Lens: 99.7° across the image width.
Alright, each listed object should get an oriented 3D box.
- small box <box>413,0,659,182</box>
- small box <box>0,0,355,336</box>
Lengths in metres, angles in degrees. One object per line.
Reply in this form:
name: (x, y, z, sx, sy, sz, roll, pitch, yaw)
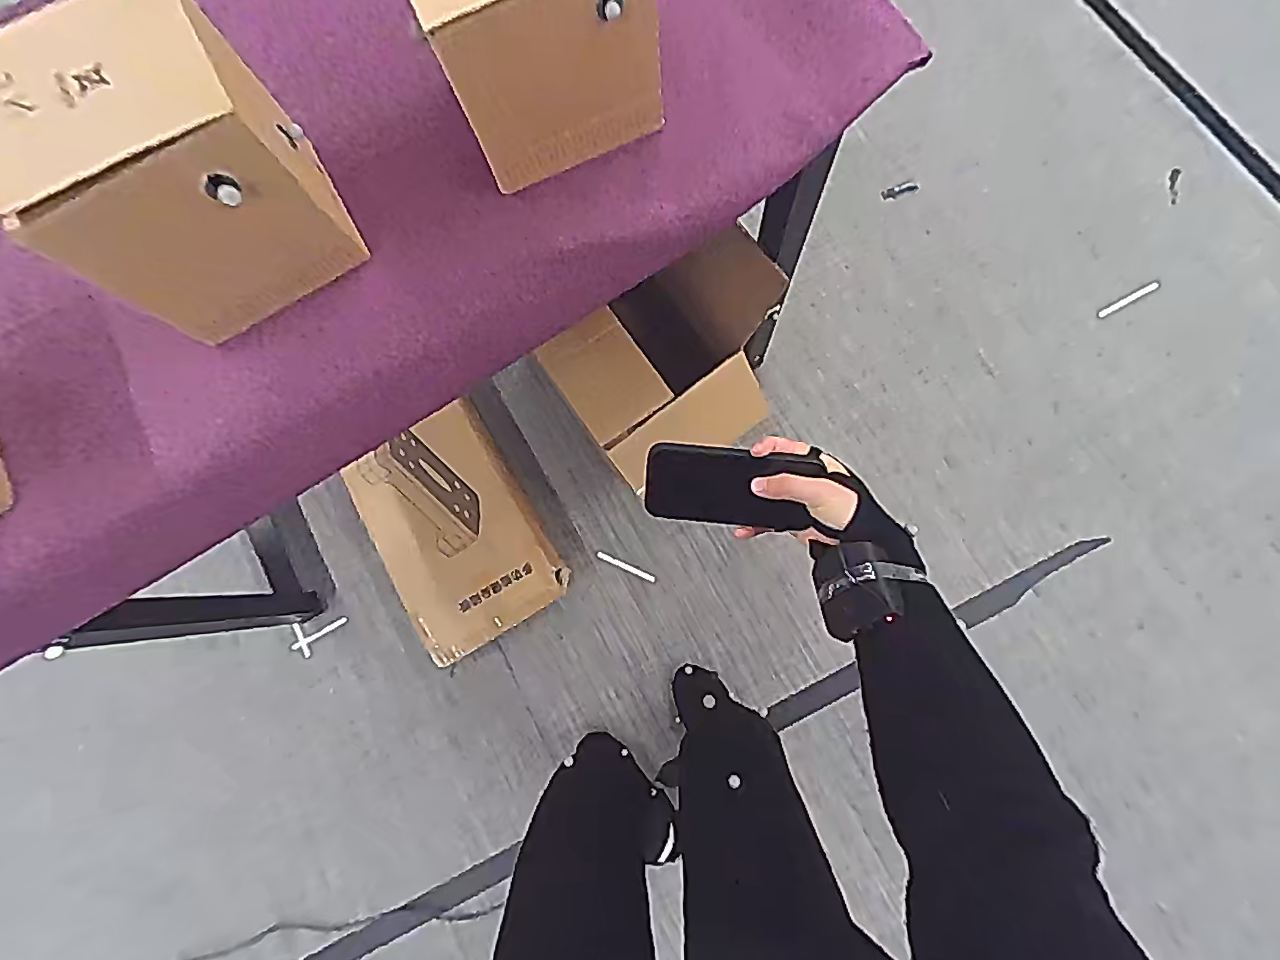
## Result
small box: (-0.093, -0.402, 0.466, 0.179, 0.176, 0.168, -24, 78, -1)
small box: (-0.378, -0.259, 0.458, 0.179, 0.176, 0.168, -31, 76, -2)
